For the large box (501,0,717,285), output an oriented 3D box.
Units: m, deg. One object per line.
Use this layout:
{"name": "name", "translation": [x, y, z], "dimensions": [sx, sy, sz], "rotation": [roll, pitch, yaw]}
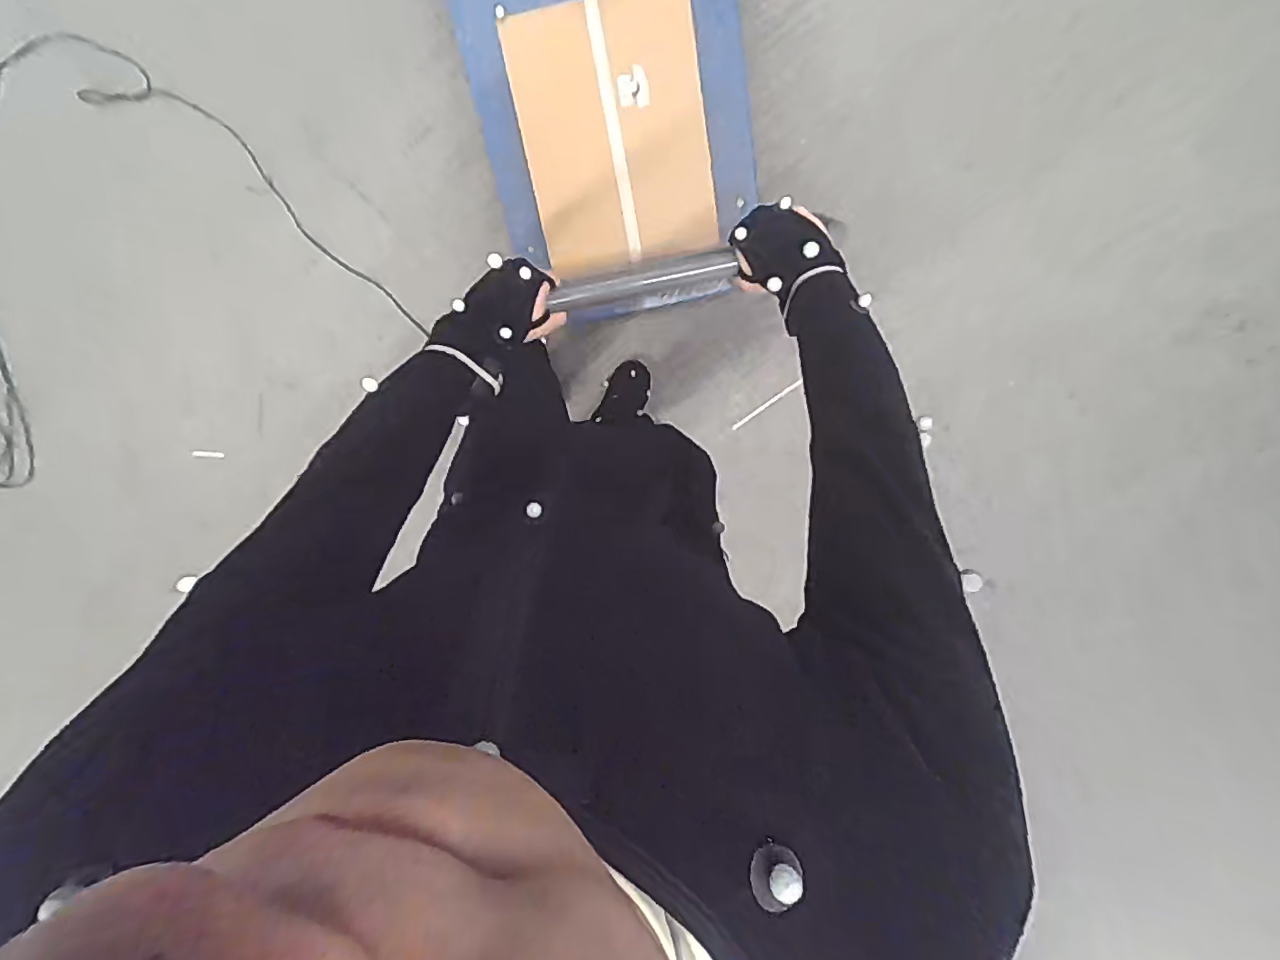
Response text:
{"name": "large box", "translation": [-0.040, -0.632, 1.087], "dimensions": [0.320, 0.320, 0.408], "rotation": [-10, 109, 4]}
